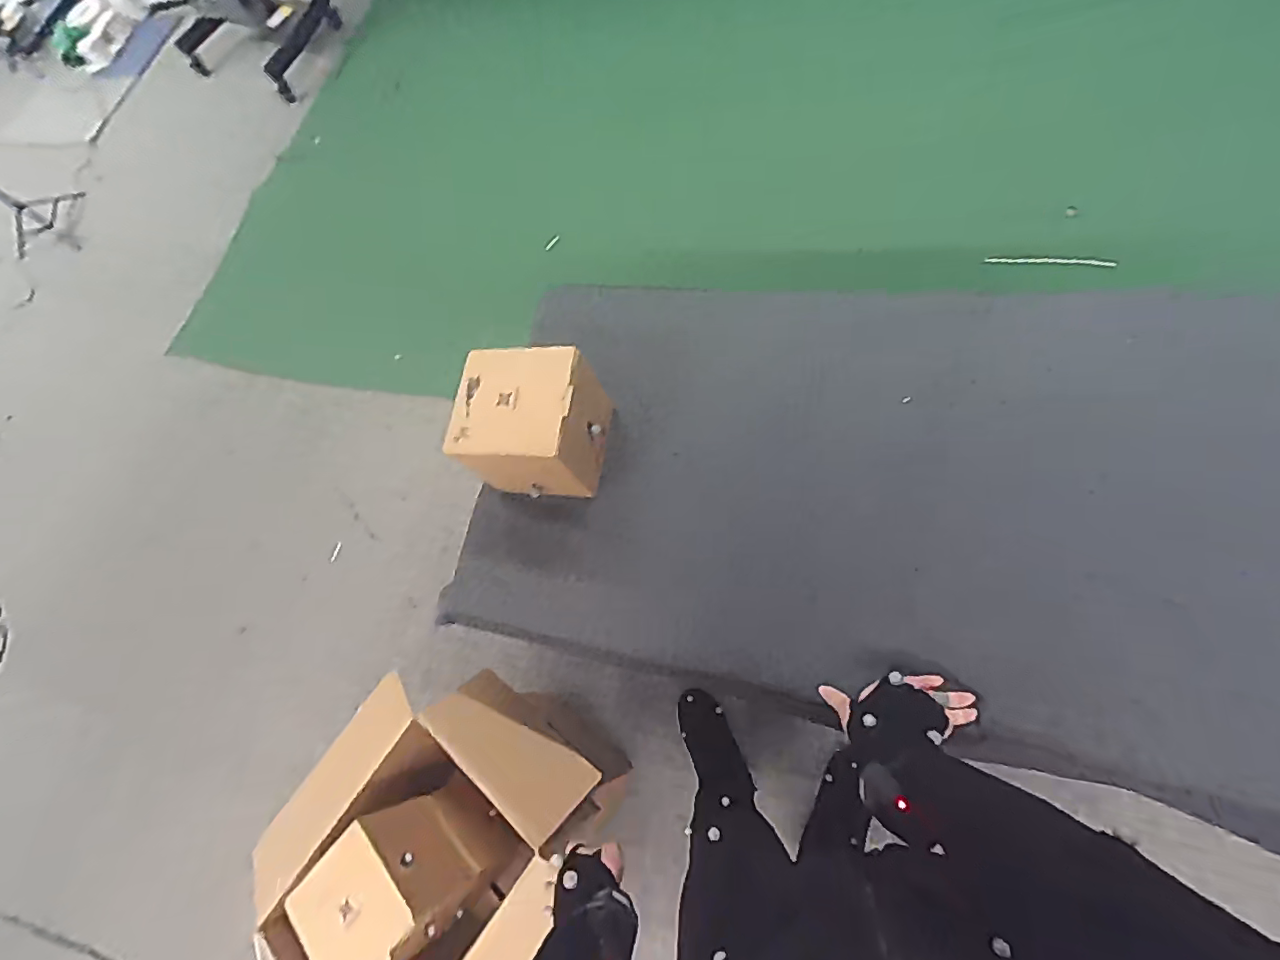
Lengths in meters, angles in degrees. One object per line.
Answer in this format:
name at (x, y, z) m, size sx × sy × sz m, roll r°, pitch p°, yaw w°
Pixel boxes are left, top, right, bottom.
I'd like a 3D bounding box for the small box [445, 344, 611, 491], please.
small box at (-0.156, -0.089, 0.817) m, size 0.179 × 0.176 × 0.168 m, roll 4°, pitch 71°, yaw 16°
